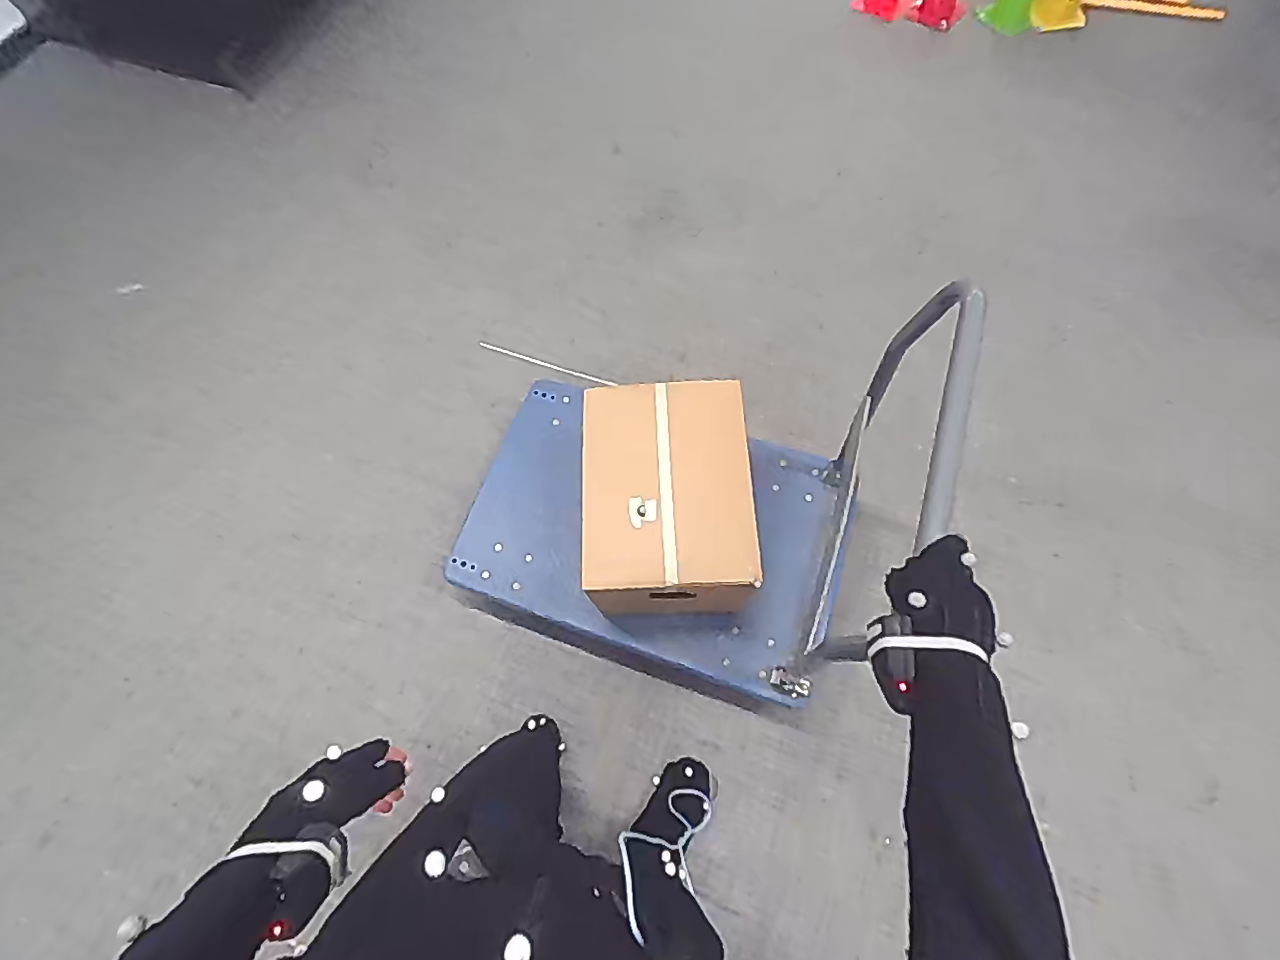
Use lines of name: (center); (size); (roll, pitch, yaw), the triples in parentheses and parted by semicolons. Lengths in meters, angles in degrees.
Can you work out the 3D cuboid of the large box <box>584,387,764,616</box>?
large box: (0.059, 0.060, 1.150); (0.320, 0.320, 0.408); (-4, 68, 2)
